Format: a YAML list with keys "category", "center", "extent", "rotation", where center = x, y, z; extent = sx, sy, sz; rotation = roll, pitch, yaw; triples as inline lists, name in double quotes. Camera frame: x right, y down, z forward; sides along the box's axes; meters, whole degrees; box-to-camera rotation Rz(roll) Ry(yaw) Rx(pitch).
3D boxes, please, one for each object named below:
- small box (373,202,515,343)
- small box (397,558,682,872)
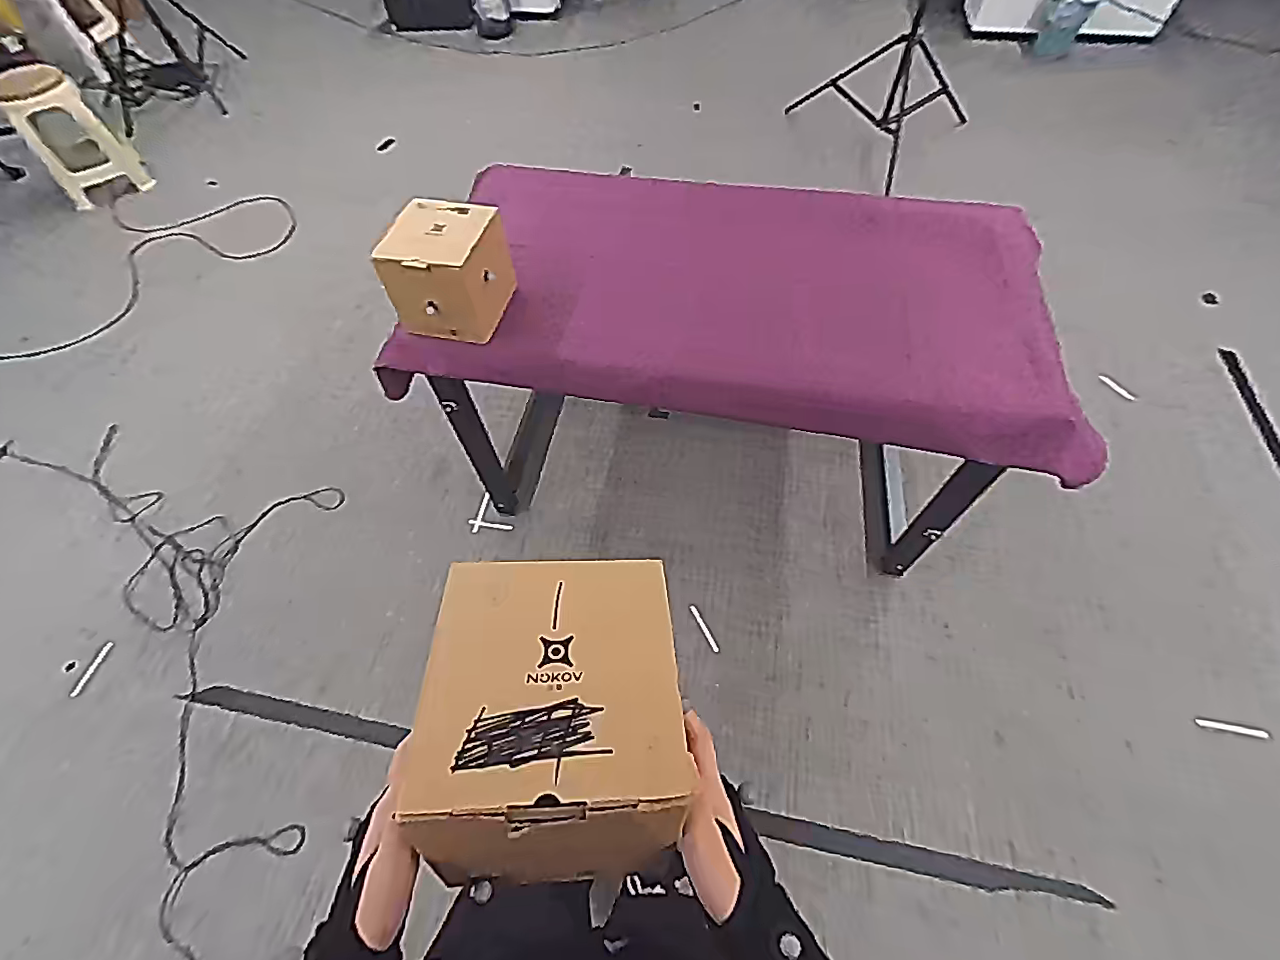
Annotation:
- category: "small box"
  center: [-0.345, -0.376, 0.995]
  extent: [0.168, 0.176, 0.179]
  rotation: [10, 59, 7]
- category: "small box"
  center: [-0.064, 0.182, 0.419]
  extent: [0.168, 0.176, 0.179]
  rotation: [0, 42, -6]
